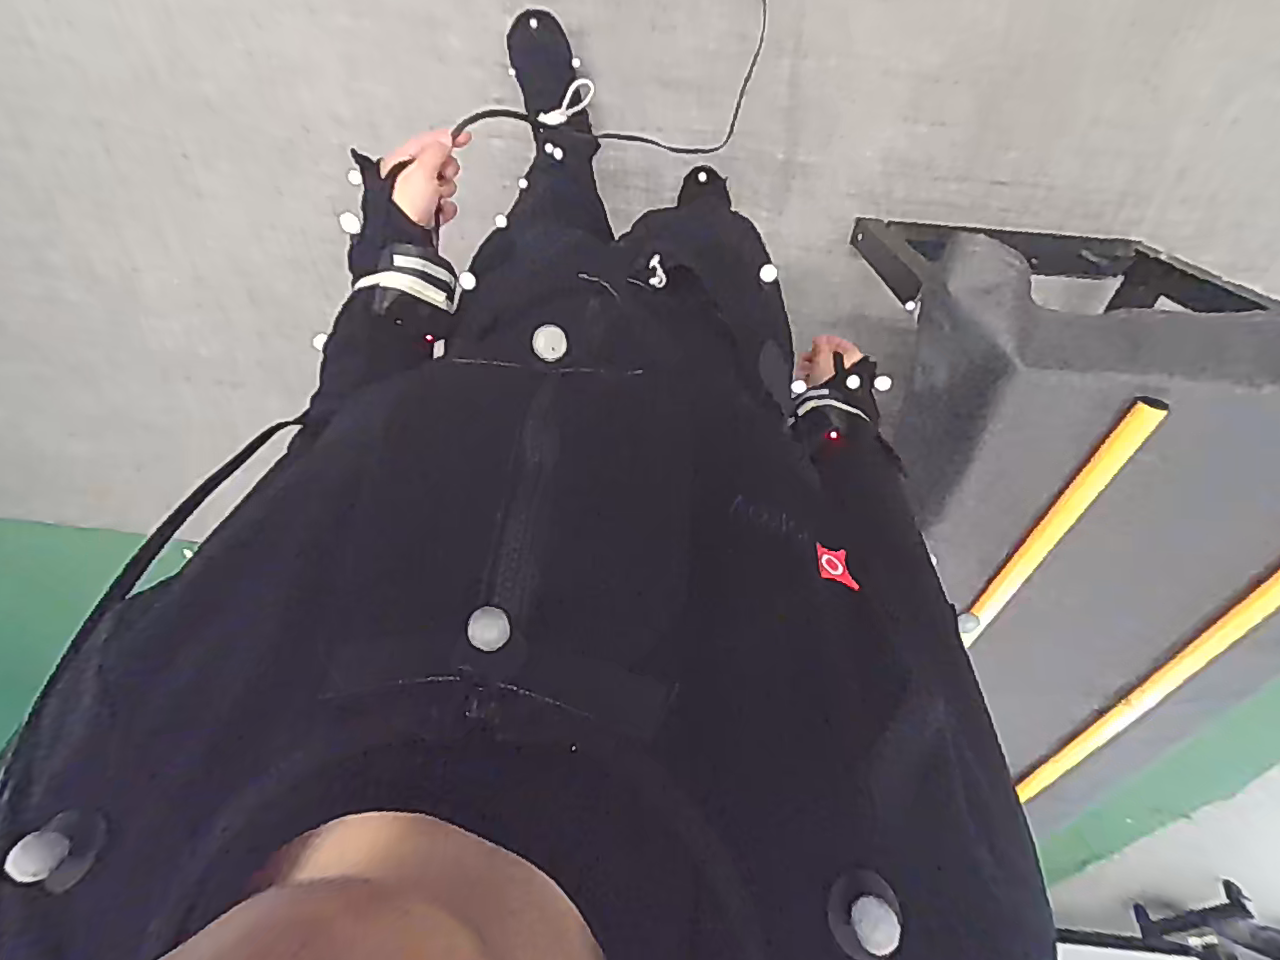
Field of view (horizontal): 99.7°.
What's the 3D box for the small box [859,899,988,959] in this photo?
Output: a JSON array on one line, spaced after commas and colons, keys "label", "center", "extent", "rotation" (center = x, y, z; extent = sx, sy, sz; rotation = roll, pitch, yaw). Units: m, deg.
[{"label": "small box", "center": [0.539, 0.914, 1.014], "extent": [0.179, 0.176, 0.168], "rotation": [5, 127, 1]}]
